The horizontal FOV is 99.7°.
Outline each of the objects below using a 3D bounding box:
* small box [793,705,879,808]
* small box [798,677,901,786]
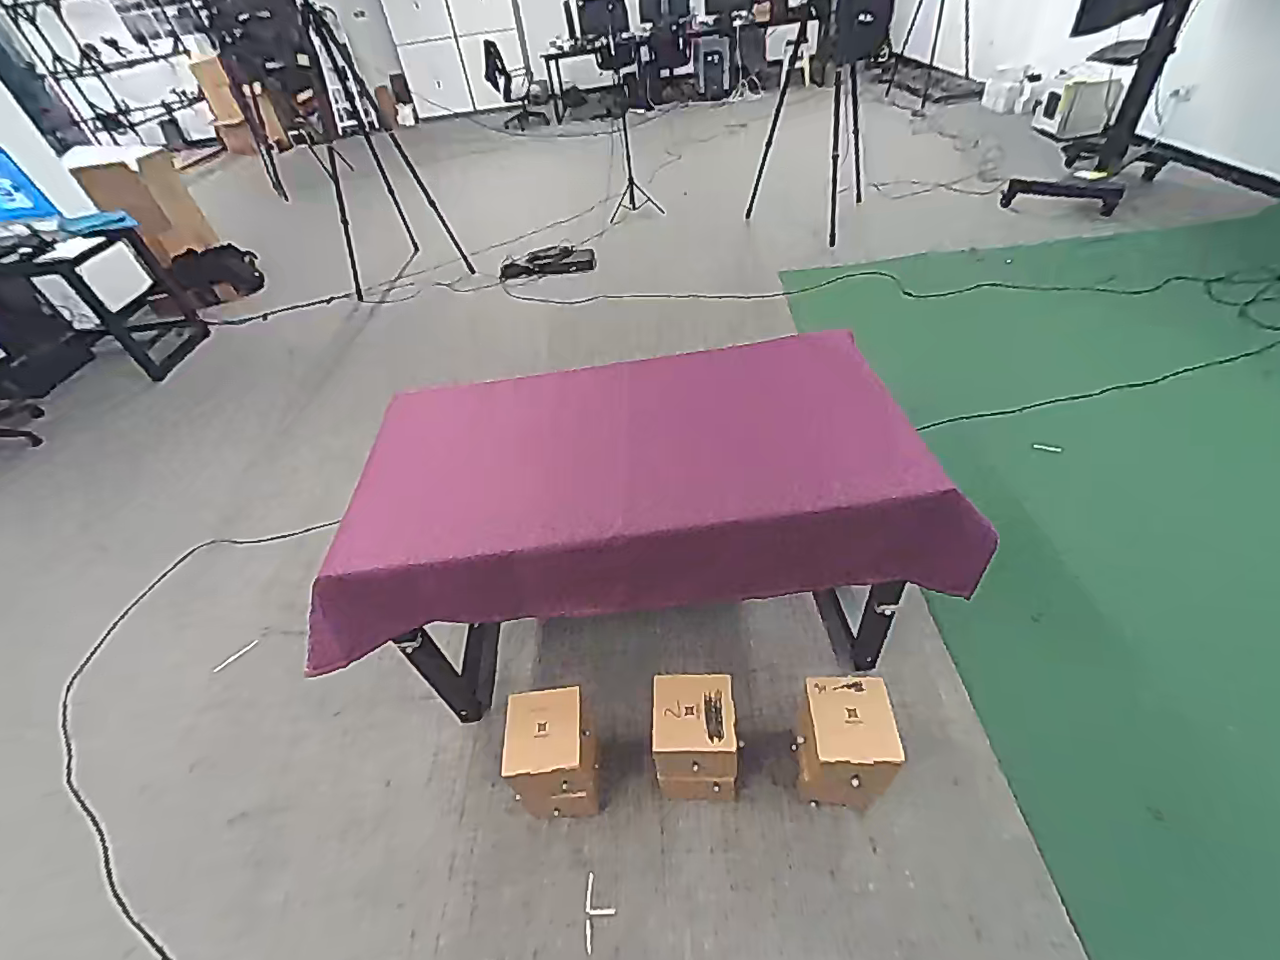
[{"bbox_3d":[0.460,0.662,1.292,0.168,0.176,0.179,0,44,10],"label":"small box"},{"bbox_3d":[0.443,0.547,1.173,0.168,0.176,0.179,-1,46,6],"label":"small box"}]
